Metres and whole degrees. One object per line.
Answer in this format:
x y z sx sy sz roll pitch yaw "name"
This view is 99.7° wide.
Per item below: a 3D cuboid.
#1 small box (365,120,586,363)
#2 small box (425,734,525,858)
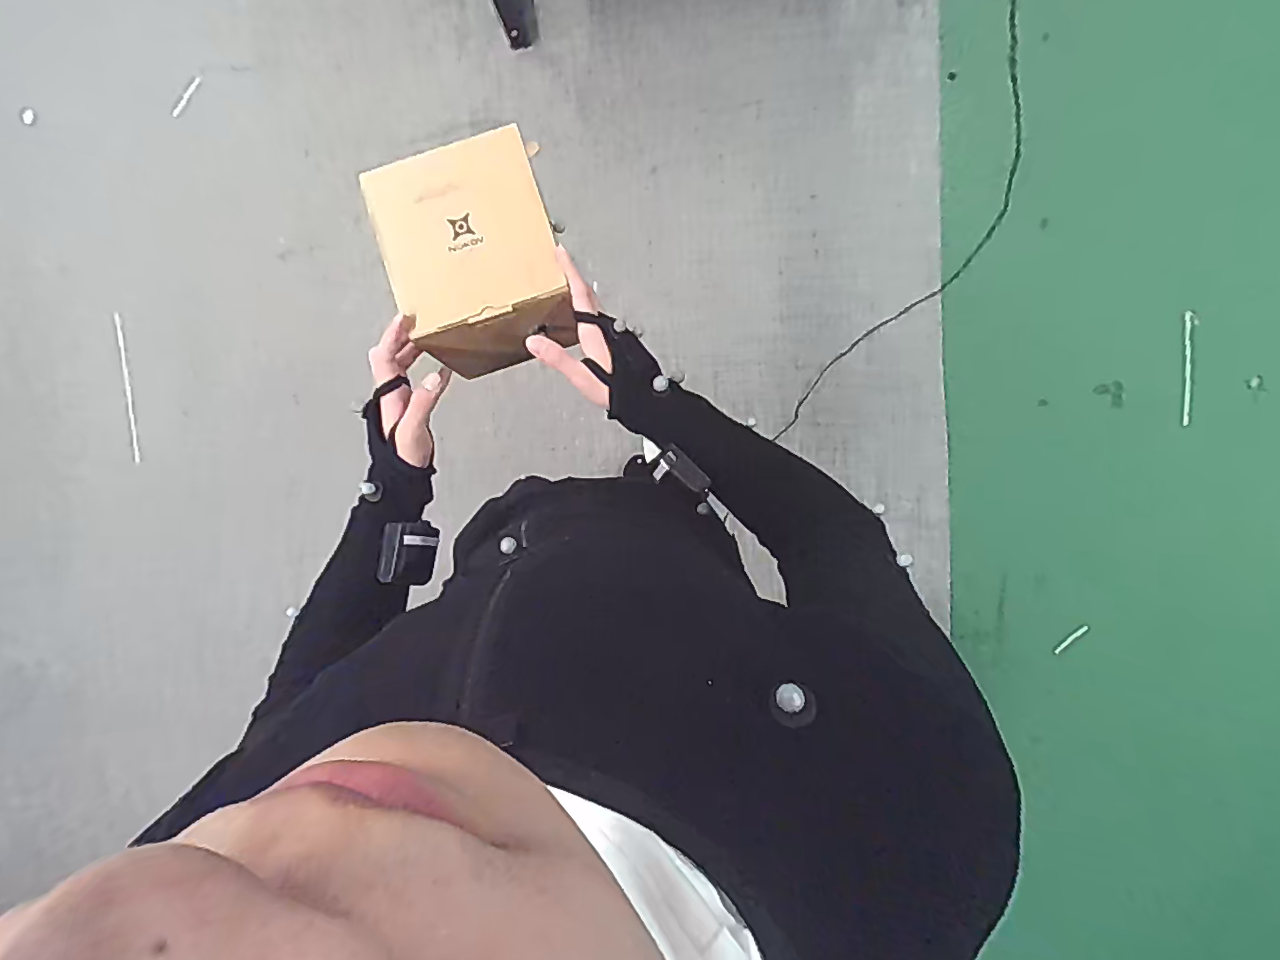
-0.165 -0.242 0.601 0.168 0.176 0.179 -16 87 0 "small box"
-0.397 0.768 1.330 0.168 0.176 0.179 17 94 2 "small box"
